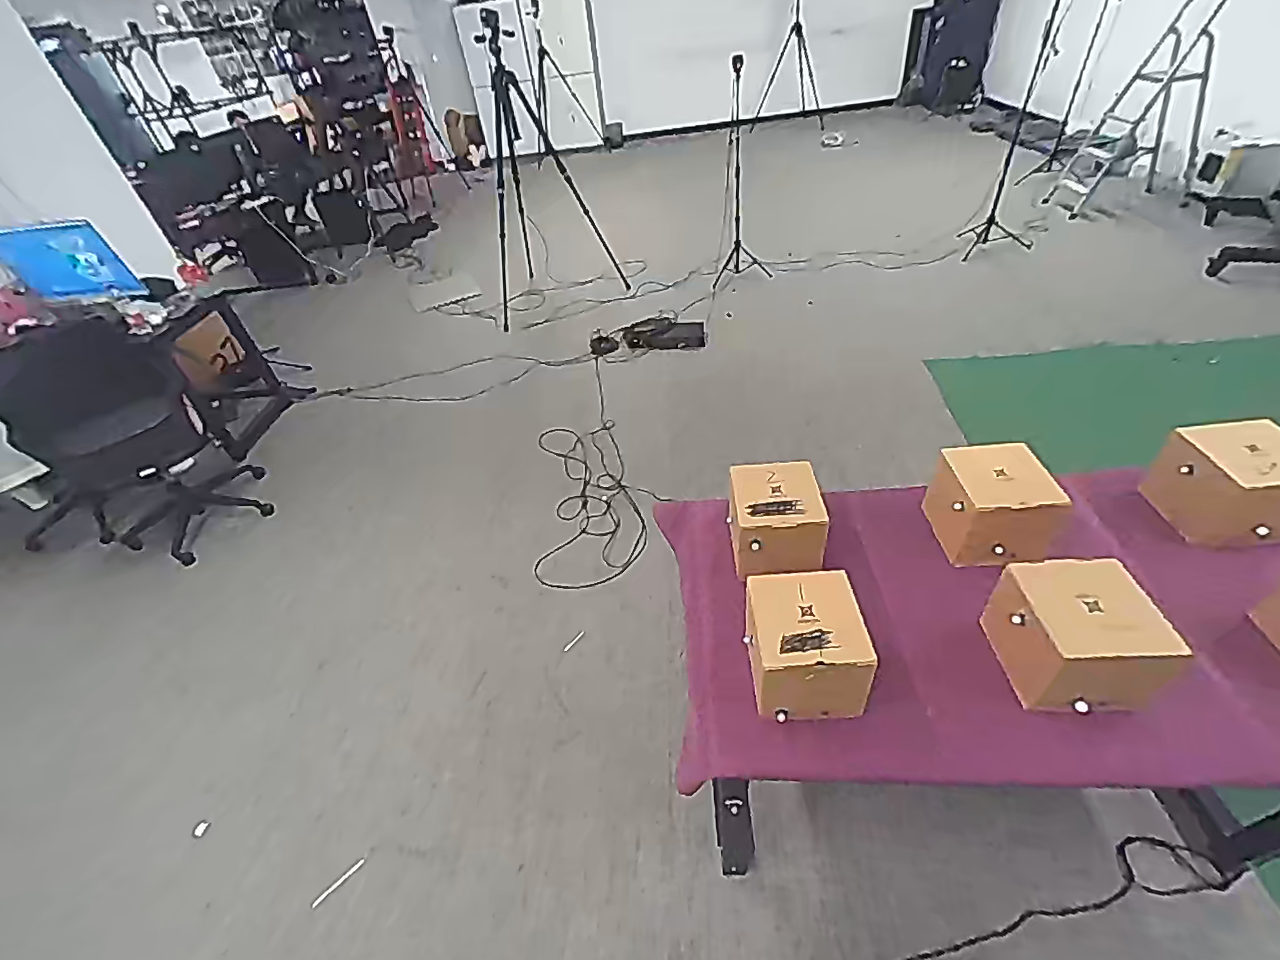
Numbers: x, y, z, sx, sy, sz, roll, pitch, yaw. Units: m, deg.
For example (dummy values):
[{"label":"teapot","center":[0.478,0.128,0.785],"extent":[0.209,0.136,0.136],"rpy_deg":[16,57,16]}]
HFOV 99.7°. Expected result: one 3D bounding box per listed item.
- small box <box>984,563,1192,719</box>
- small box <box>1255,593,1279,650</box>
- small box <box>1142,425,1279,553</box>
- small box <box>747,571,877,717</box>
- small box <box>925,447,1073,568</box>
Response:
[{"label":"small box","center":[0.683,0.252,0.856],"extent":[0.168,0.176,0.179],"rpy_deg":[-3,41,7]},{"label":"small box","center":[1.109,0.231,0.805],"extent":[0.168,0.176,0.179],"rpy_deg":[-2,39,9]},{"label":"small box","center":[1.136,0.018,1.039],"extent":[0.168,0.176,0.179],"rpy_deg":[-6,42,7]},{"label":"small box","center":[0.271,0.275,0.893],"extent":[0.168,0.176,0.179],"rpy_deg":[-4,40,4]},{"label":"small box","center":[0.697,0.055,1.078],"extent":[0.168,0.176,0.179],"rpy_deg":[-4,42,5]}]
